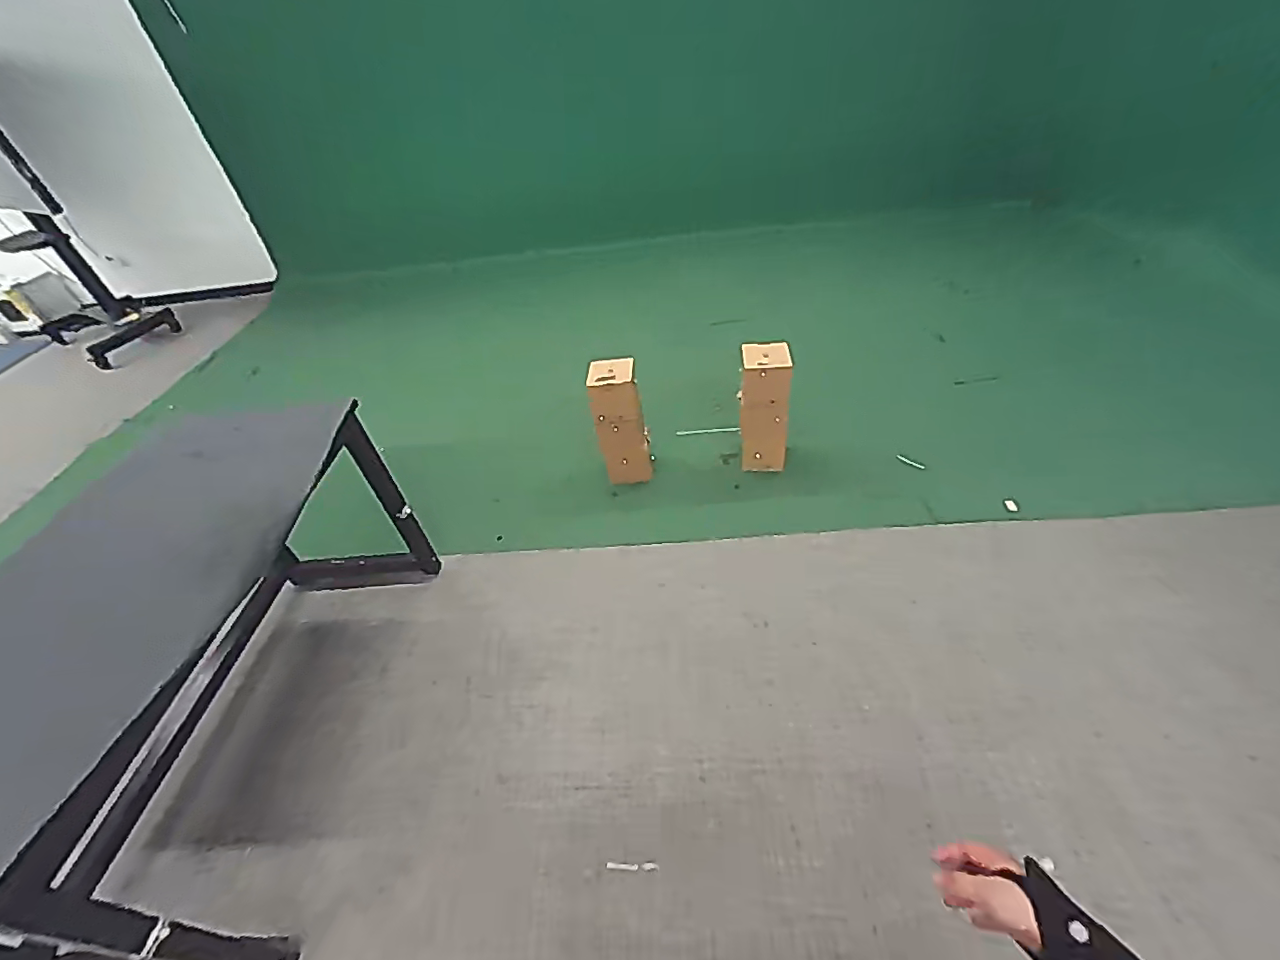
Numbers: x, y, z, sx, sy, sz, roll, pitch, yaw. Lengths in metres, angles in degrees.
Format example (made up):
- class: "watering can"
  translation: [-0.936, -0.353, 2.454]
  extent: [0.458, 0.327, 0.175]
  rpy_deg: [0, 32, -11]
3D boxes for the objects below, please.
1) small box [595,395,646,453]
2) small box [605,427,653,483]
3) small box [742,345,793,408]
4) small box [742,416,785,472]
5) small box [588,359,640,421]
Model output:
- class: "small box"
  translation: [-0.074, -0.220, 2.153]
  extent: [0.179, 0.176, 0.168]
  rpy_deg: [-3, 43, 6]
- class: "small box"
  translation: [-0.043, -0.102, 2.261]
  extent: [0.179, 0.176, 0.168]
  rpy_deg: [-5, 43, 5]
- class: "small box"
  translation: [0.465, -0.381, 1.996]
  extent: [0.168, 0.176, 0.179]
  rpy_deg: [-1, 41, 7]
- class: "small box"
  translation: [0.508, -0.146, 2.223]
  extent: [0.168, 0.176, 0.179]
  rpy_deg: [1, 43, 11]
- class: "small box"
  translation: [-0.092, -0.332, 2.035]
  extent: [0.168, 0.176, 0.179]
  rpy_deg: [-4, 42, 6]
